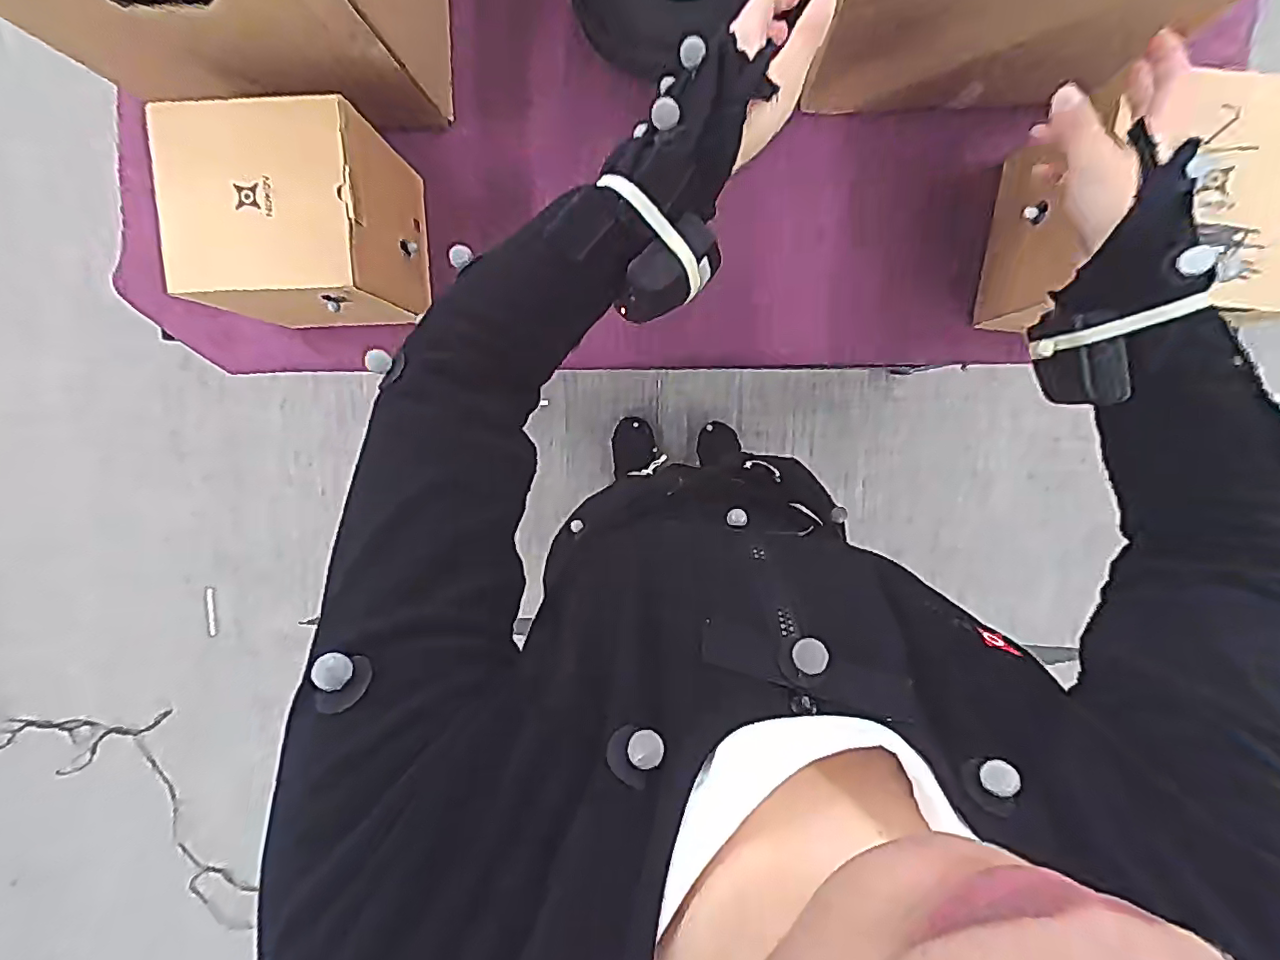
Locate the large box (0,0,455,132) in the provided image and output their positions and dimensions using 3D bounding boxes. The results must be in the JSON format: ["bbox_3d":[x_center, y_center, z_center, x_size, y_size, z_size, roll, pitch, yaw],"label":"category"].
[{"bbox_3d":[-0.372,-0.586,0.461,0.320,0.320,0.408,0,100,3],"label":"large box"}]
